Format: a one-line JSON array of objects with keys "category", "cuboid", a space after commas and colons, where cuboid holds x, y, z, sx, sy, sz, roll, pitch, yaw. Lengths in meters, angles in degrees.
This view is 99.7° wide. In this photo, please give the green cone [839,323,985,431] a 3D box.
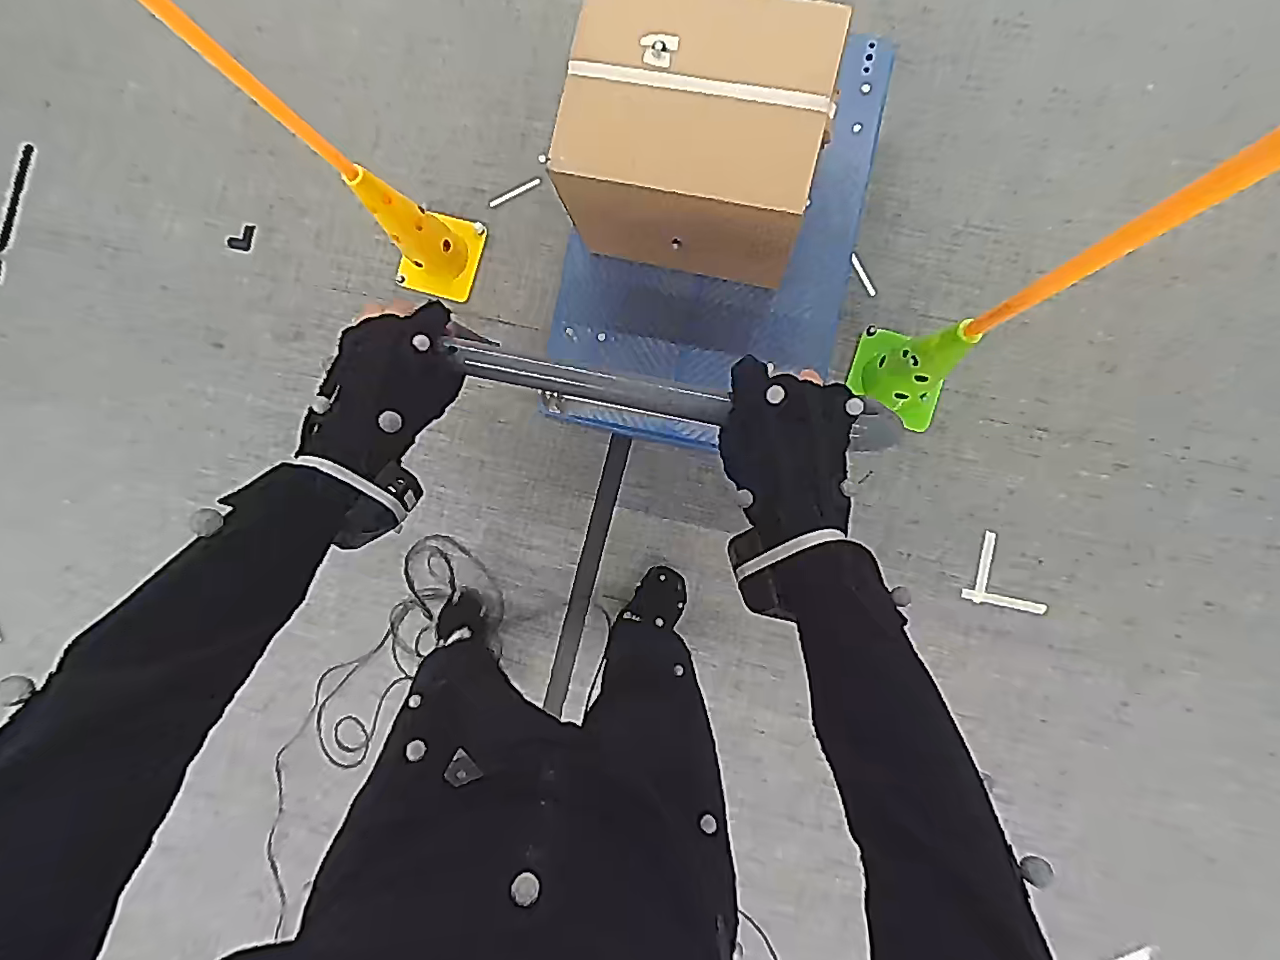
[{"category": "green cone", "cuboid": [0.555, -0.230, 1.056, 0.202, 0.368, 0.200, 18, 91, 6]}]

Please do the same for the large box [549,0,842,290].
[{"category": "large box", "cuboid": [0.100, -0.573, 0.979, 0.408, 0.320, 0.320, 14, 91, 8]}]
